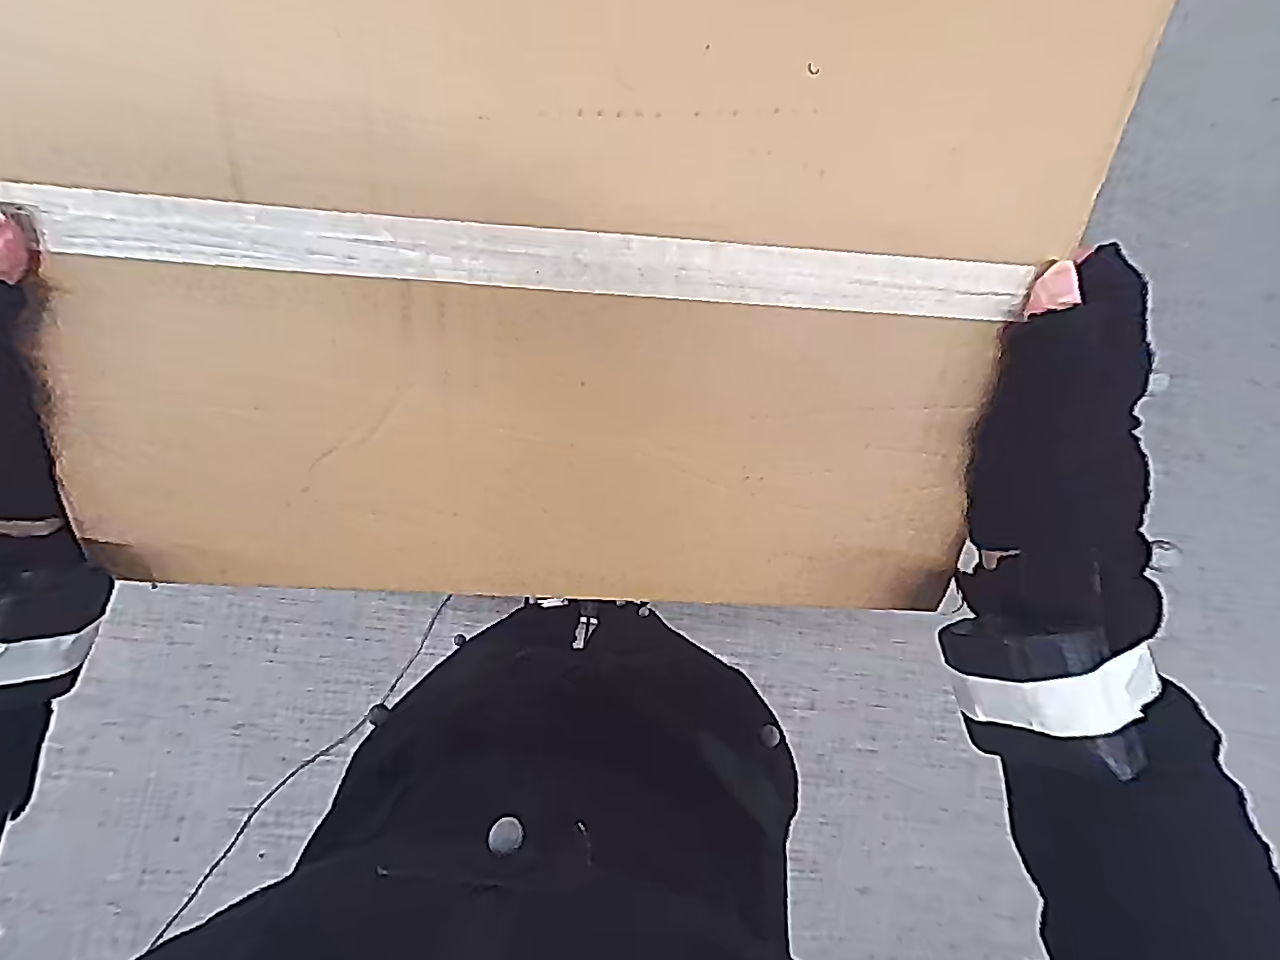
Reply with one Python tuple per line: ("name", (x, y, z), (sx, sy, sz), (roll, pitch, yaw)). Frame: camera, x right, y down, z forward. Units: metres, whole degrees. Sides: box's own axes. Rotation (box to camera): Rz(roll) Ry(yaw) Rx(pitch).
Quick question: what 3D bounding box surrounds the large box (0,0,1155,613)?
("large box", (-0.041, -0.138, 0.346), (0.408, 0.320, 0.320), (3, 115, -4))
